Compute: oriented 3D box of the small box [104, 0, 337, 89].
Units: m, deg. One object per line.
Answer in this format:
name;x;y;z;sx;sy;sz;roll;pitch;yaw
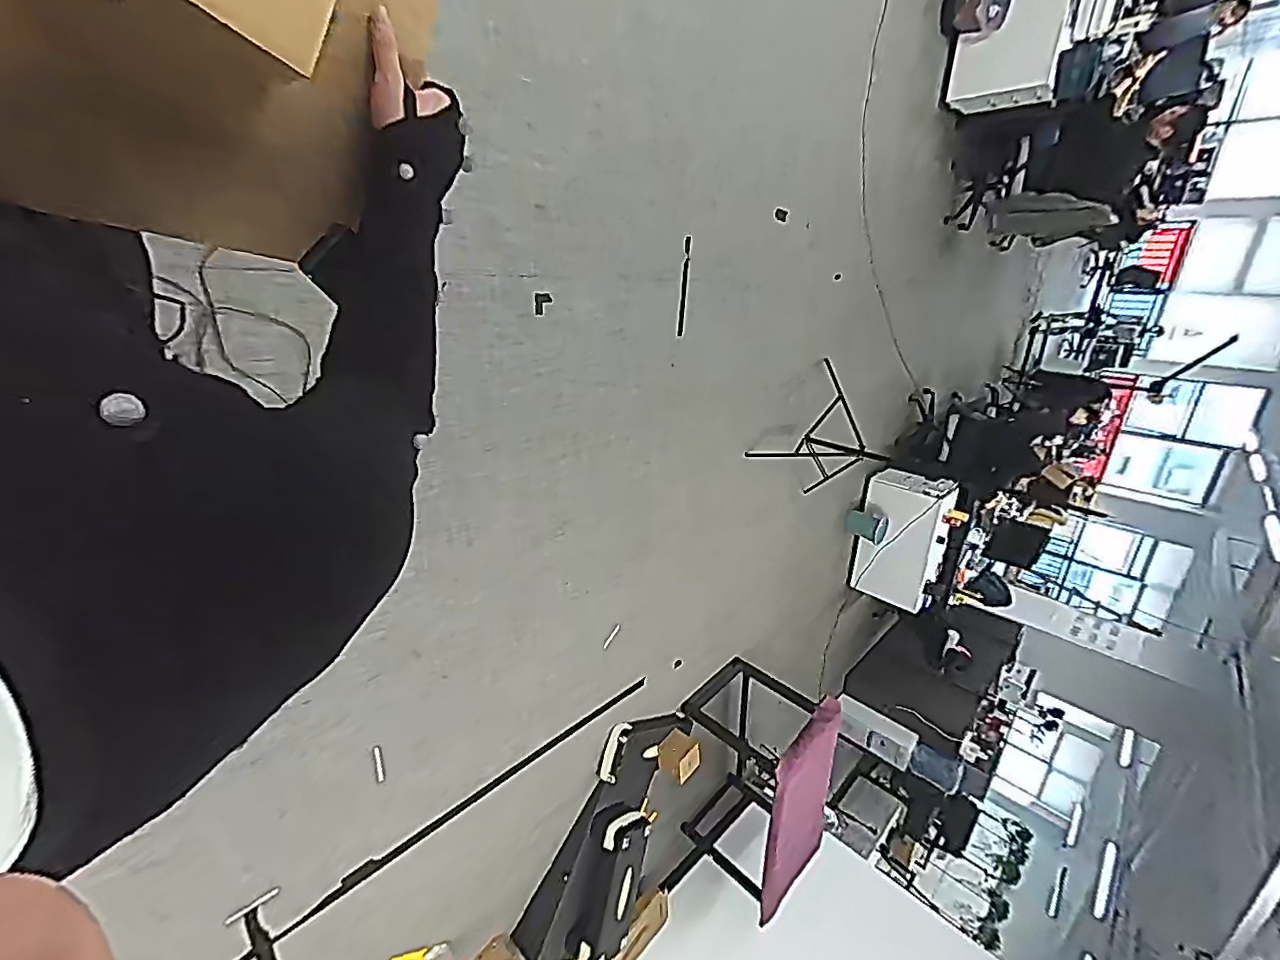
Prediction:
small box;-0.287;-0.377;0.329;0.179;0.176;0.168;15;104;-45
